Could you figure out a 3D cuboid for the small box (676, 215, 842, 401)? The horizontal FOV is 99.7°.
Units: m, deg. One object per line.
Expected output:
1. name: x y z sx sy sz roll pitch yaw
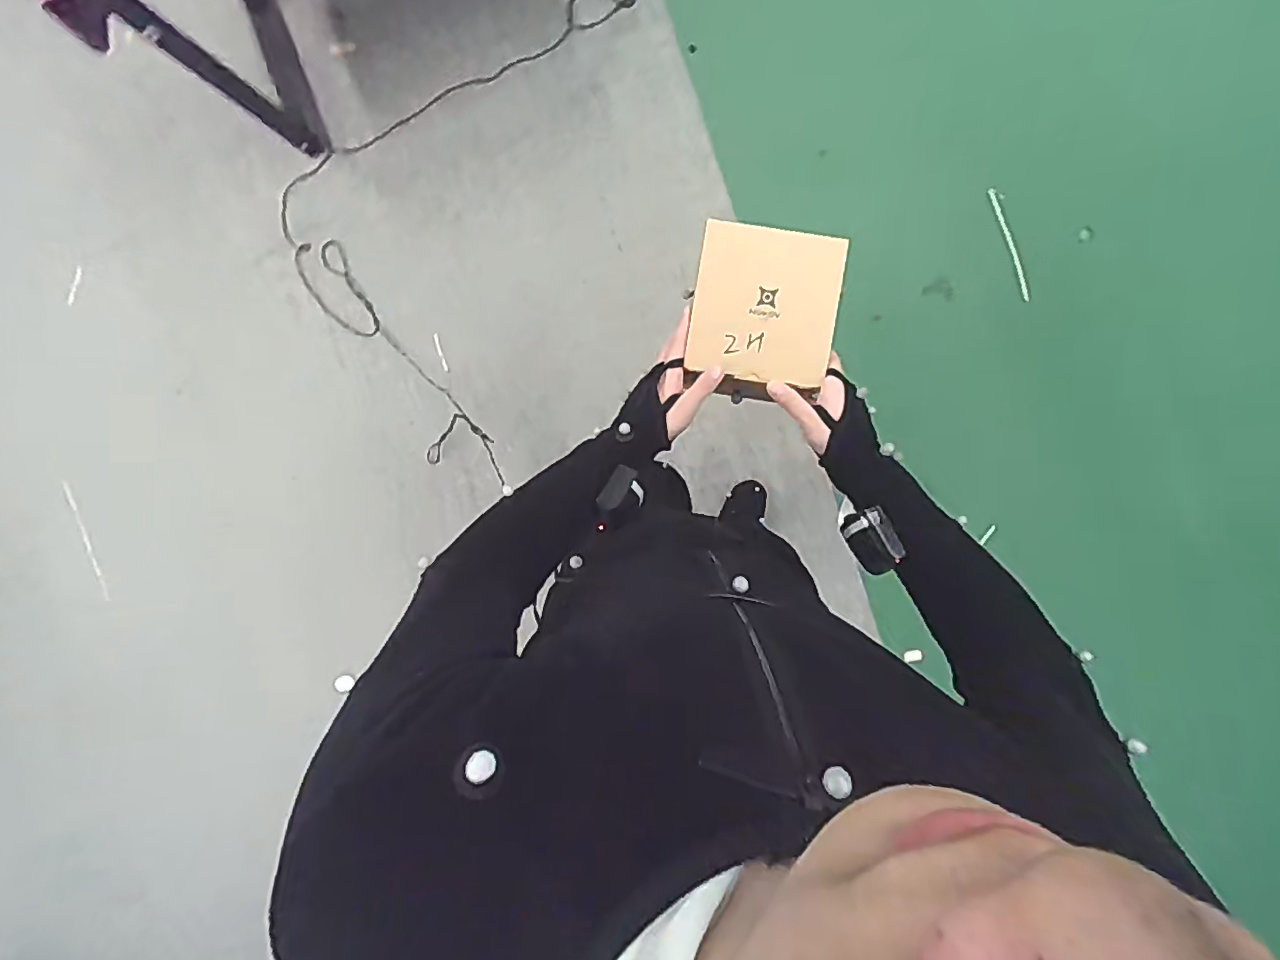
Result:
1. small box: 0.140 -0.208 0.698 0.168 0.176 0.179 9 92 1
